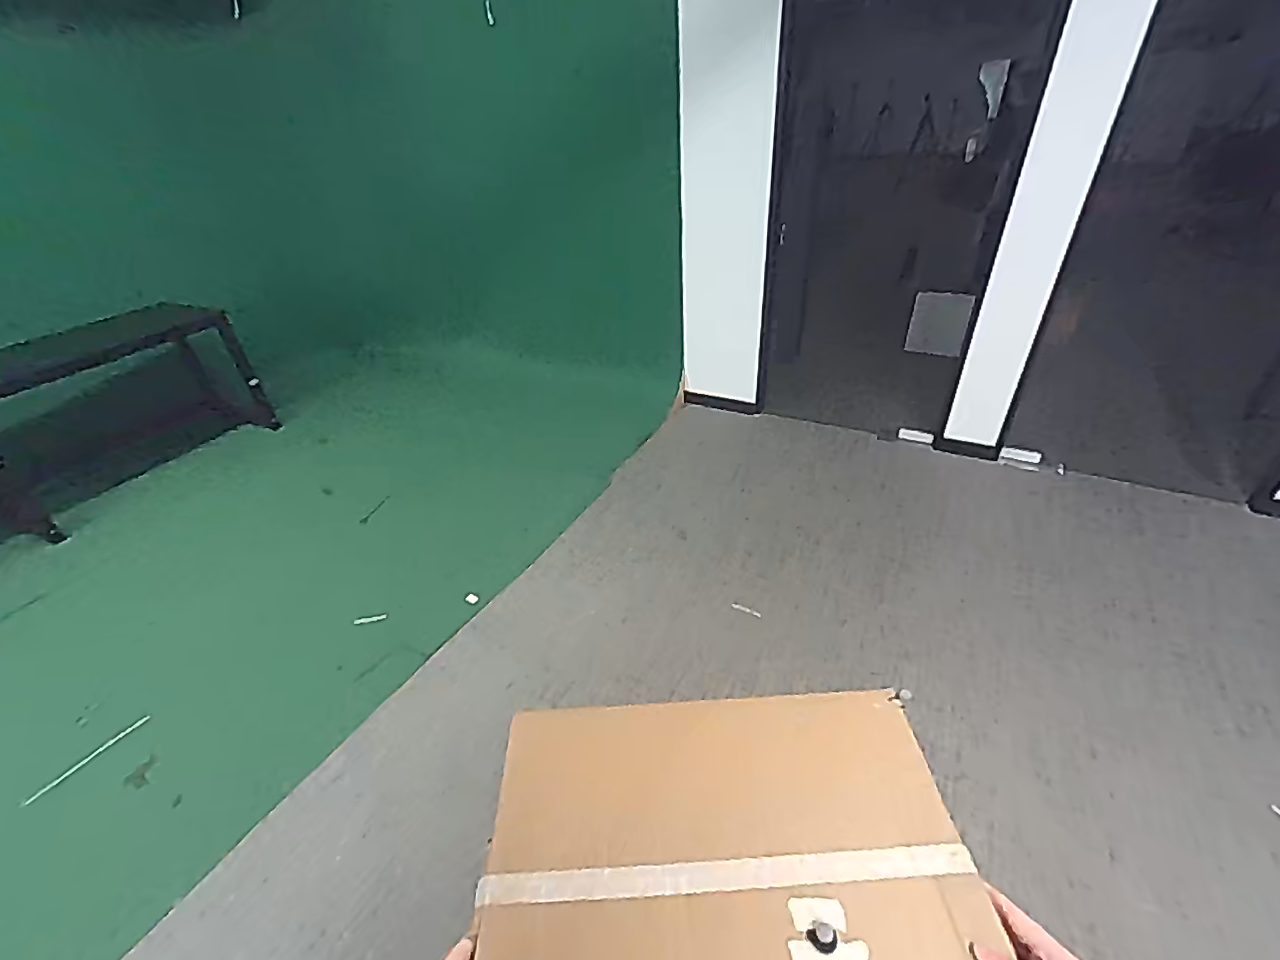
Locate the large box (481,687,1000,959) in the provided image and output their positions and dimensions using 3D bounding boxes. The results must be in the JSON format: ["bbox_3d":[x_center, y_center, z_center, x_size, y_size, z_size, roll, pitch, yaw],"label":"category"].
[{"bbox_3d":[0.074,0.447,0.552,0.408,0.320,0.320,-3,38,-1],"label":"large box"}]
